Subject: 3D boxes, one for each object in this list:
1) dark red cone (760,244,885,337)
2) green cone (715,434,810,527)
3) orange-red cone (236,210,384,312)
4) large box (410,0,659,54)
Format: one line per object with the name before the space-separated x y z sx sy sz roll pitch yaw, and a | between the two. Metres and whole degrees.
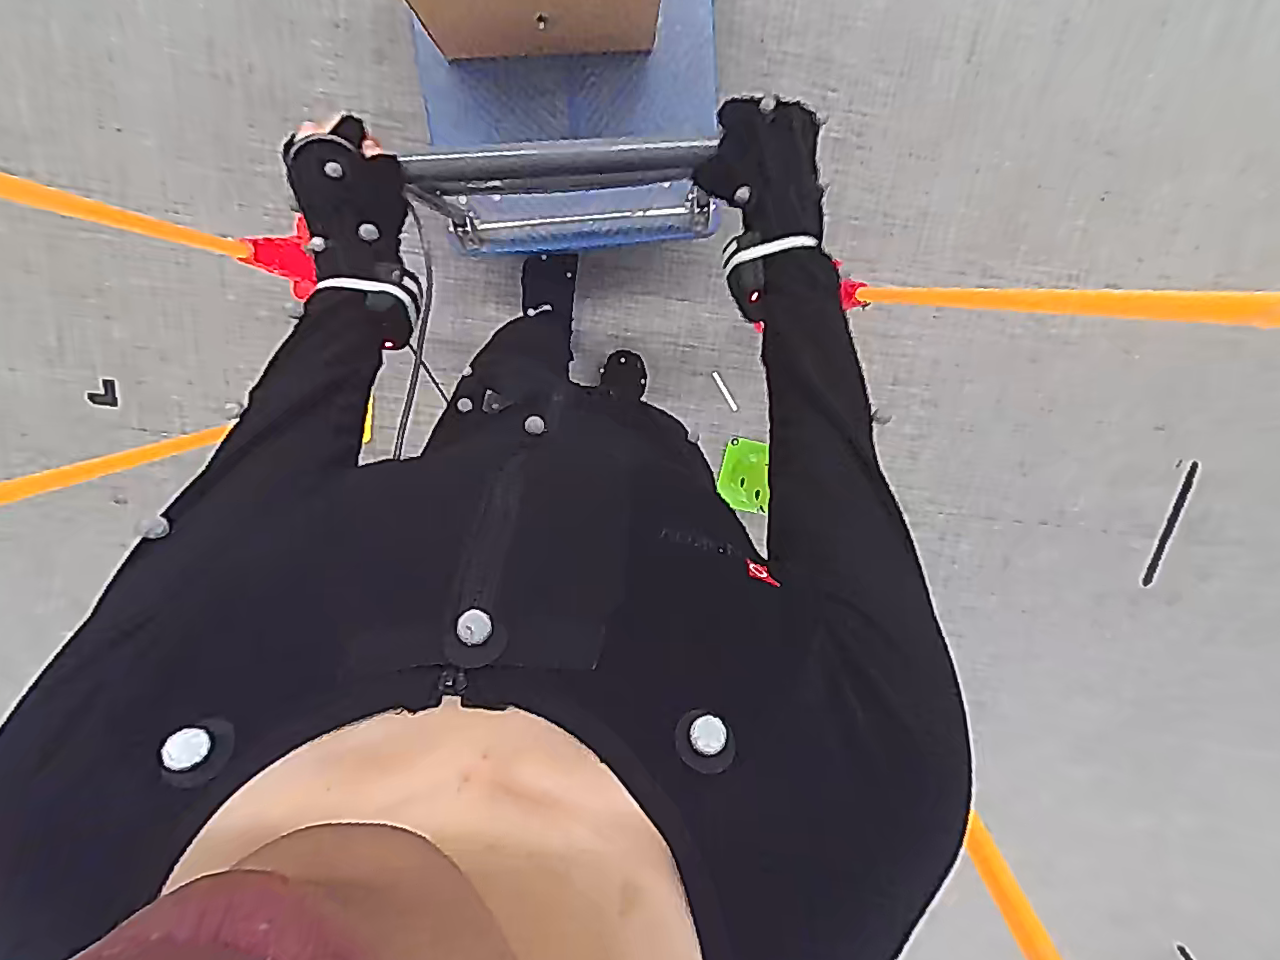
dark red cone | 0.417 -0.418 1.179 0.201 0.394 0.202 6 107 -7
green cone | 0.330 0.034 1.333 0.202 0.368 0.200 10 107 -7
orange-red cone | -0.715 -0.473 1.130 0.198 0.360 0.199 14 105 -8
large box | -0.176 -0.929 0.858 0.408 0.320 0.320 -3 107 -1
